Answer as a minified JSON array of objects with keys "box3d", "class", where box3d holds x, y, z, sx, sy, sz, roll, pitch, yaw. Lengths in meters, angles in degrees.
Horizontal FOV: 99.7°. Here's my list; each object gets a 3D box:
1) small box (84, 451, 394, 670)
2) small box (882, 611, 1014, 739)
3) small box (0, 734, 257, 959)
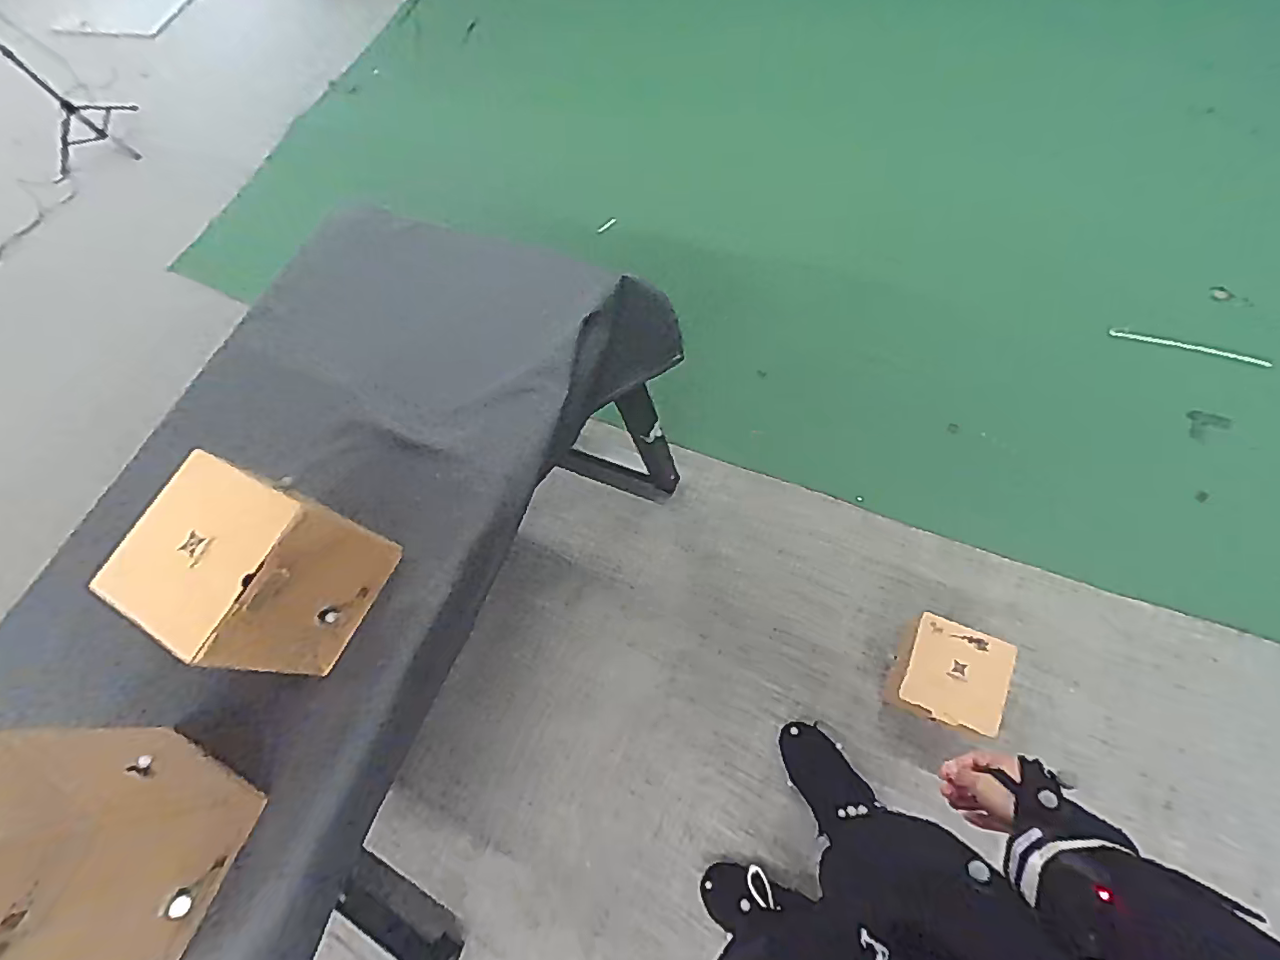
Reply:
[{"box3d":[-0.421,0.097,0.597,0.179,0.176,0.168,21,73,19],"class":"small box"},{"box3d":[0.592,0.381,1.061,0.168,0.176,0.179,20,74,19],"class":"small box"},{"box3d":[-0.523,0.357,0.506,0.179,0.176,0.168,18,72,18],"class":"small box"}]
